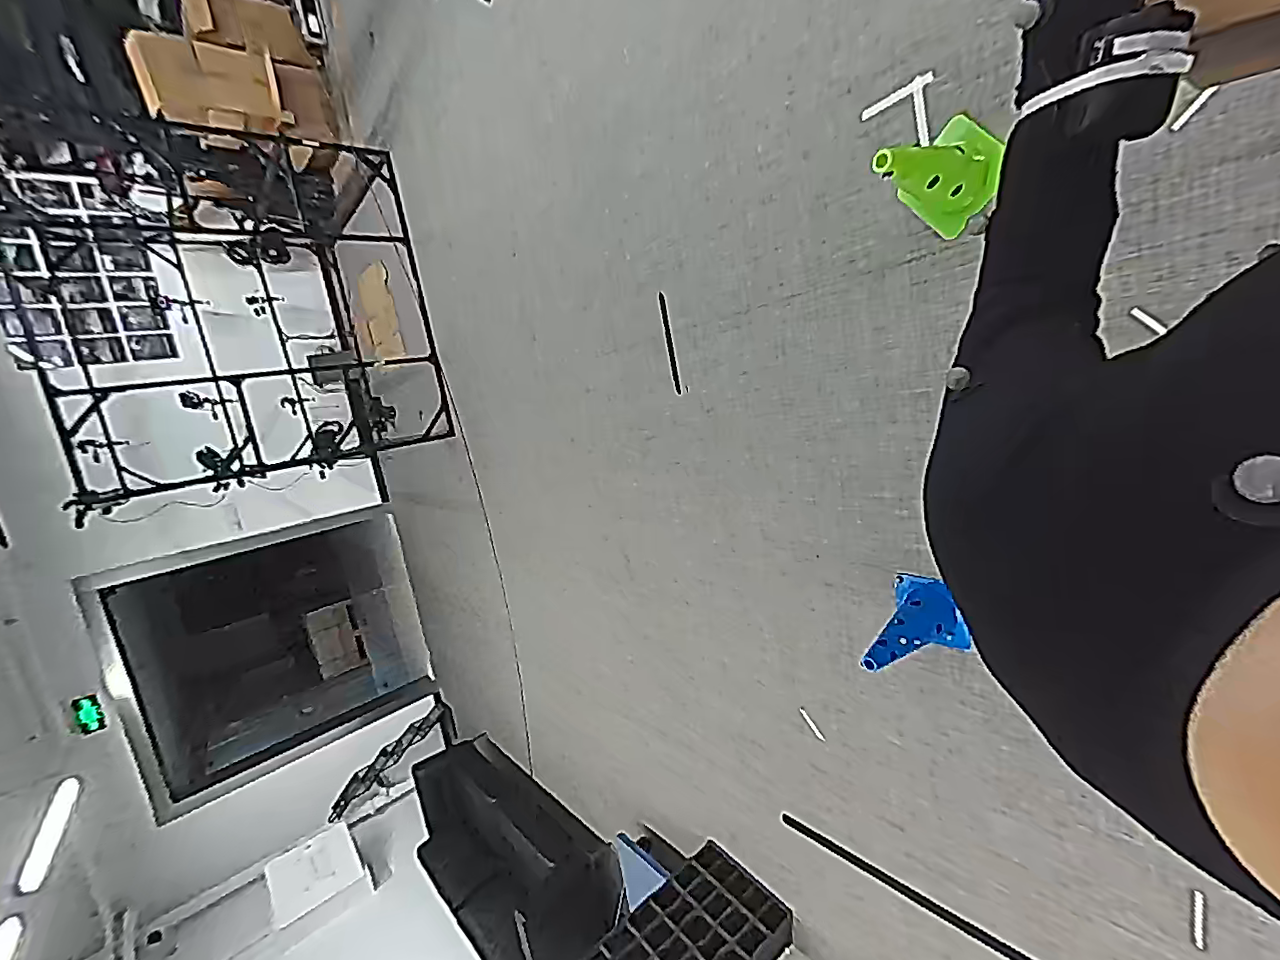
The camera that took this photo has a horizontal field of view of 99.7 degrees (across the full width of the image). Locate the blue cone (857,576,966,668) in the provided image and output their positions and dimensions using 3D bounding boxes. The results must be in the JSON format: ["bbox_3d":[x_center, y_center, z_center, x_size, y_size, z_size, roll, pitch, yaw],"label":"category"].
[{"bbox_3d":[0.715,0.416,1.470,0.192,0.380,0.193,7,109,51],"label":"blue cone"}]

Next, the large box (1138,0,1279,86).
[{"bbox_3d":[0.544,-0.458,0.259,0.408,0.320,0.320,12,119,48],"label":"large box"}]

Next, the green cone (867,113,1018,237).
[{"bbox_3d":[0.602,-0.668,1.163,0.200,0.368,0.202,57,141,21],"label":"green cone"}]
